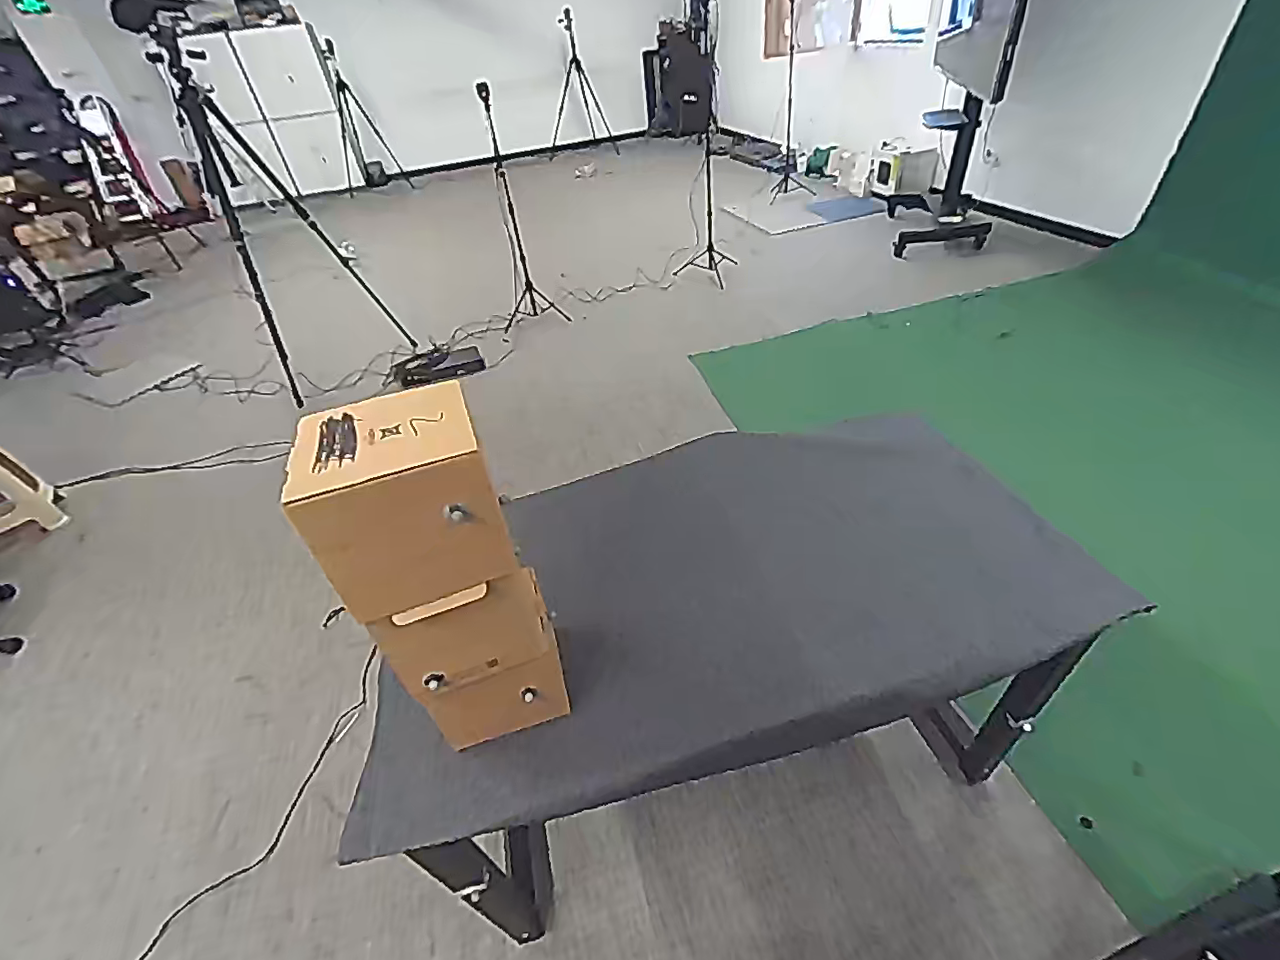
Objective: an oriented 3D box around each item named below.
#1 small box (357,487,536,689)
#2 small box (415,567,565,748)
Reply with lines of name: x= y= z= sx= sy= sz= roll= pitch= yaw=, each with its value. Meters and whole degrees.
small box: x=-0.245 y=0.143 z=0.704 sx=0.168 sy=0.176 sz=0.179 roll=-18 pitch=39 yaw=-12
small box: x=-0.218 y=0.265 z=0.811 sx=0.179 sy=0.176 sz=0.168 roll=-17 pitch=39 yaw=-8
